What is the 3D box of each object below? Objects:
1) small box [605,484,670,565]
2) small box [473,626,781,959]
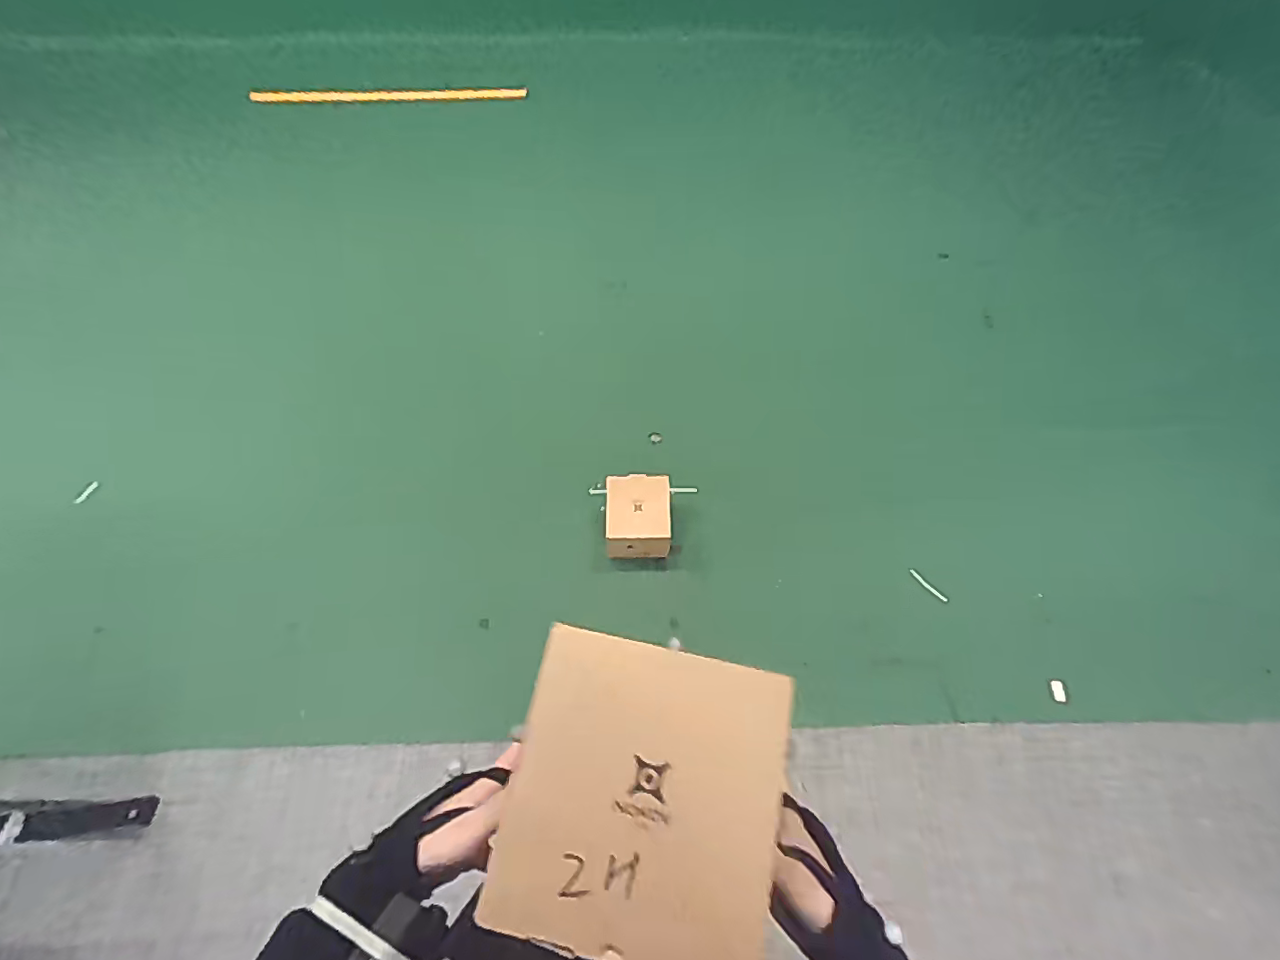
[{"bbox_3d":[-0.005,0.125,1.460,0.168,0.176,0.179,-1,62,0],"label":"small box"},{"bbox_3d":[-0.002,0.225,0.411,0.168,0.176,0.179,11,68,5],"label":"small box"}]
